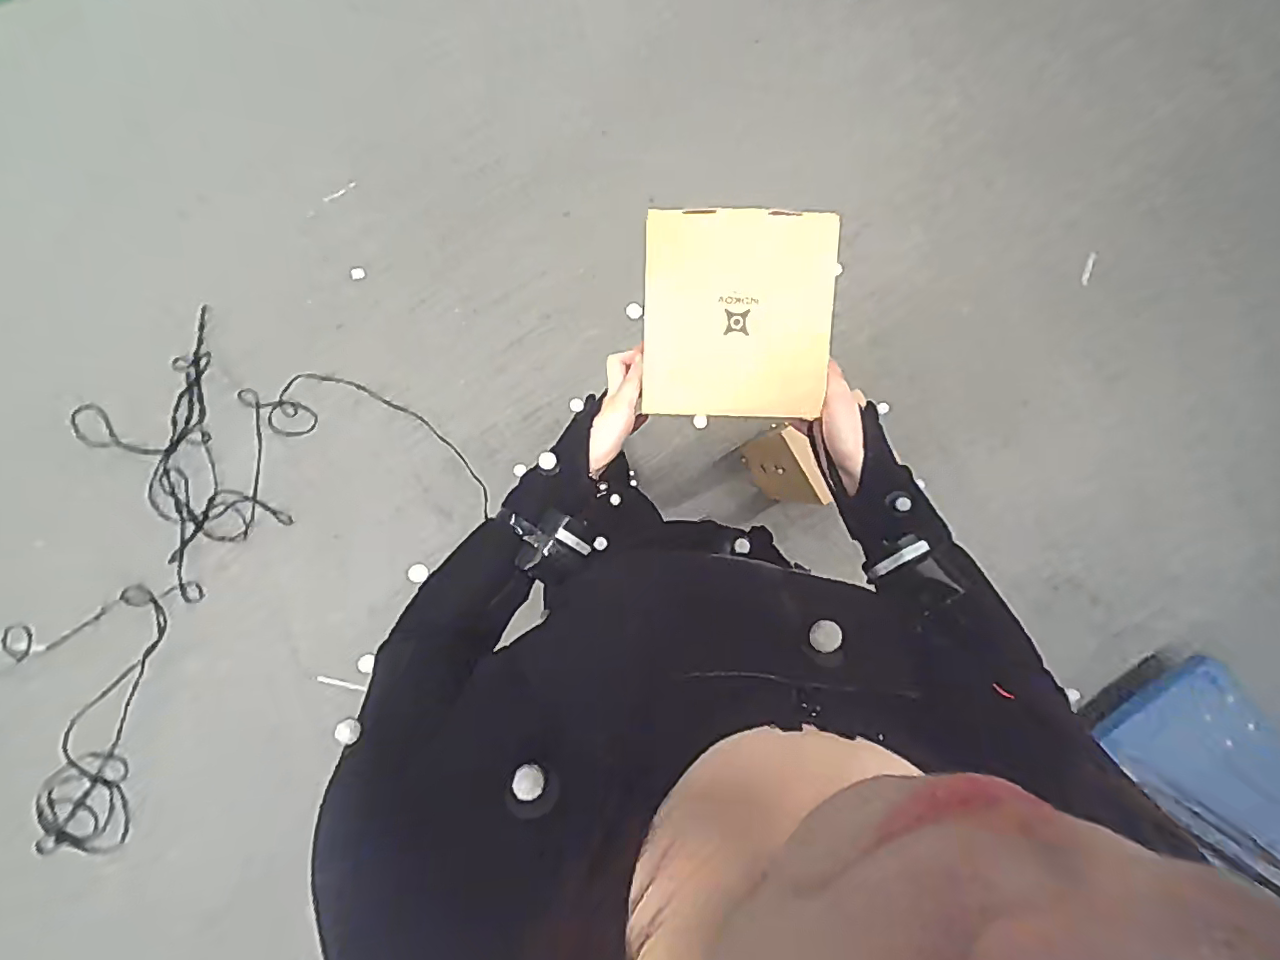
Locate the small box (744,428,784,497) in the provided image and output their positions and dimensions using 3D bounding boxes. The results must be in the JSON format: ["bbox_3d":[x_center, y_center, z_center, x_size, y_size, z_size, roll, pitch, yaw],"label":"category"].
[{"bbox_3d":[0.393,-0.064,1.436,0.179,0.176,0.168,-30,89,-2],"label":"small box"}]

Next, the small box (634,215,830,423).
[{"bbox_3d":[0.081,-0.151,0.550,0.168,0.176,0.179,1,98,1],"label":"small box"}]

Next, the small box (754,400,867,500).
[{"bbox_3d":[0.389,-0.063,1.271,0.168,0.176,0.179,-29,89,0],"label":"small box"}]
